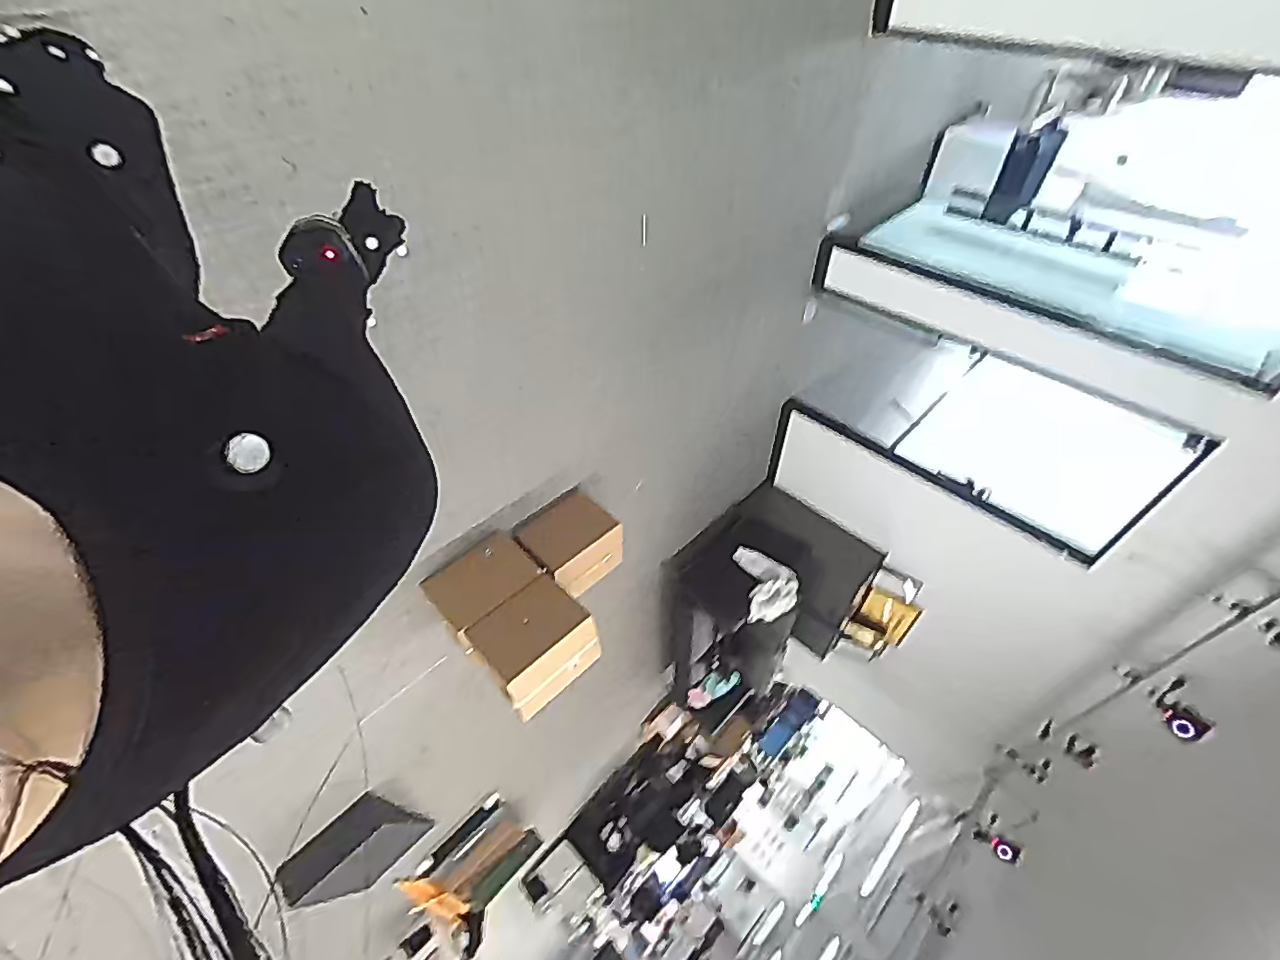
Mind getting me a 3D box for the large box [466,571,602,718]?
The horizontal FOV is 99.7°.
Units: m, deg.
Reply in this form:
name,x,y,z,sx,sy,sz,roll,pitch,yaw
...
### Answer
name,x,y,z,sx,sy,sz,roll,pitch,yaw
large box,-0.417,0.654,2.181,0.408,0.320,0.320,-36,141,-29
